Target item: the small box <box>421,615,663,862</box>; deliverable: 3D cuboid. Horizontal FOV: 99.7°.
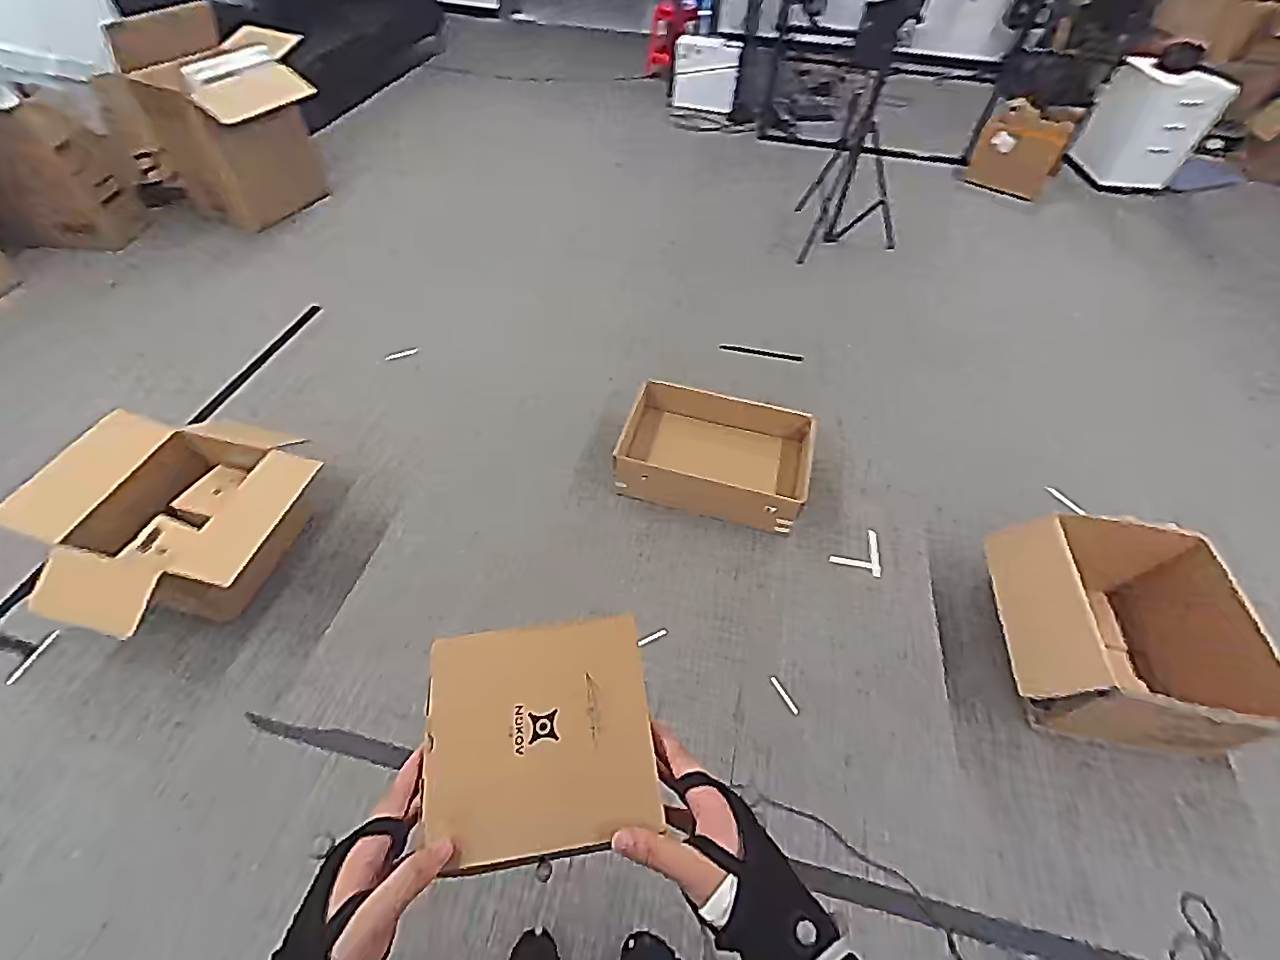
[{"bbox_3d":[-0.082,0.240,0.496,0.179,0.176,0.168,-5,56,-8],"label":"small box"}]
